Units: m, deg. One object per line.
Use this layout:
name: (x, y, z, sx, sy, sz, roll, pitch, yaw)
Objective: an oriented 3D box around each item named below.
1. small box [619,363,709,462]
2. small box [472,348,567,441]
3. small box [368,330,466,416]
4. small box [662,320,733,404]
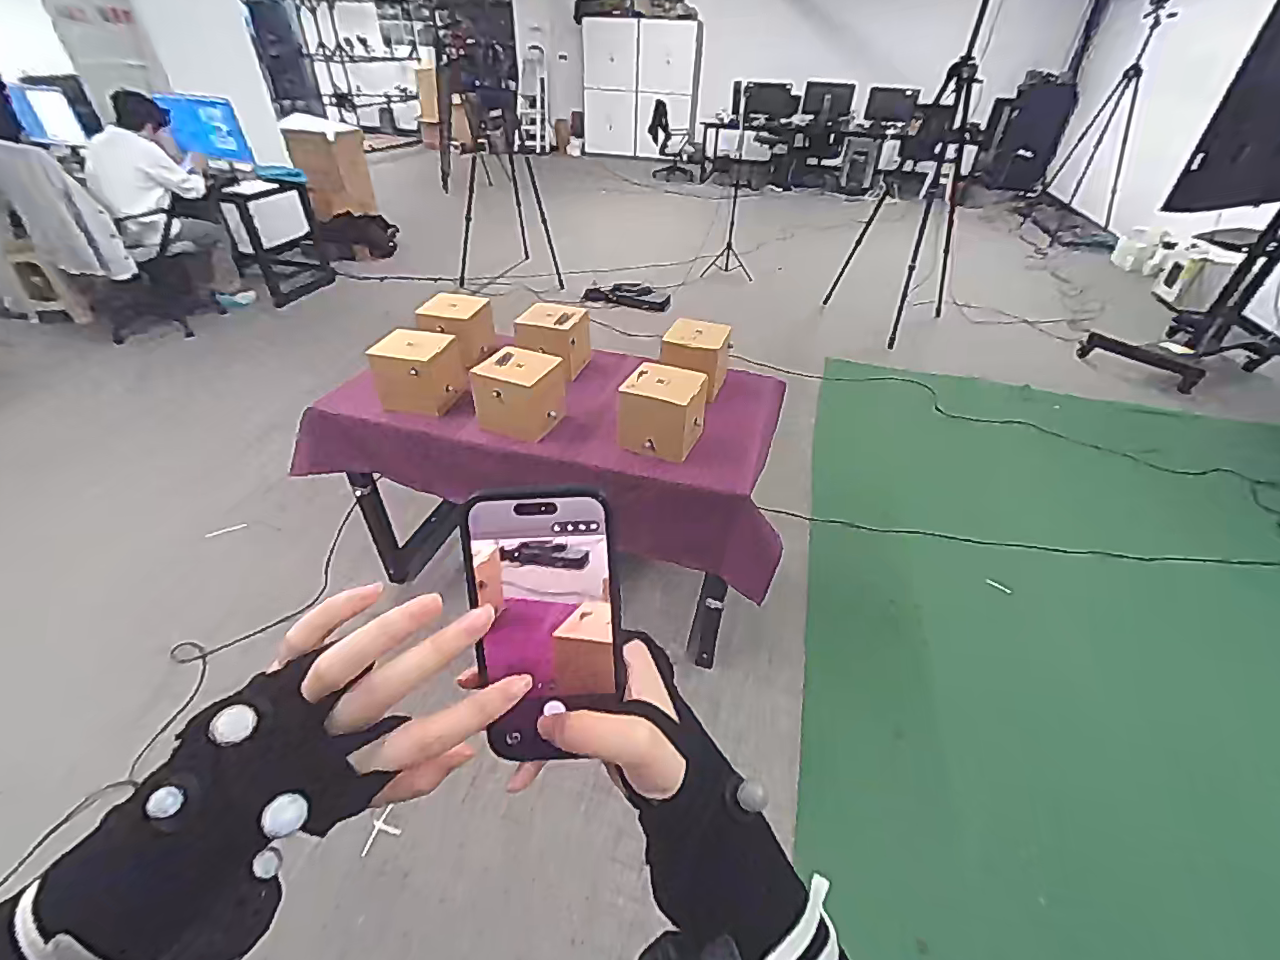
small box: (0.058, -0.166, 1.354, 0.179, 0.176, 0.168, 17, 40, 17)
small box: (-0.306, -0.221, 1.404, 0.179, 0.176, 0.168, 16, 41, 16)
small box: (-0.601, -0.292, 1.480, 0.179, 0.176, 0.168, 9, 39, 7)
small box: (0.164, -0.348, 1.586, 0.168, 0.176, 0.179, 14, 41, 15)
